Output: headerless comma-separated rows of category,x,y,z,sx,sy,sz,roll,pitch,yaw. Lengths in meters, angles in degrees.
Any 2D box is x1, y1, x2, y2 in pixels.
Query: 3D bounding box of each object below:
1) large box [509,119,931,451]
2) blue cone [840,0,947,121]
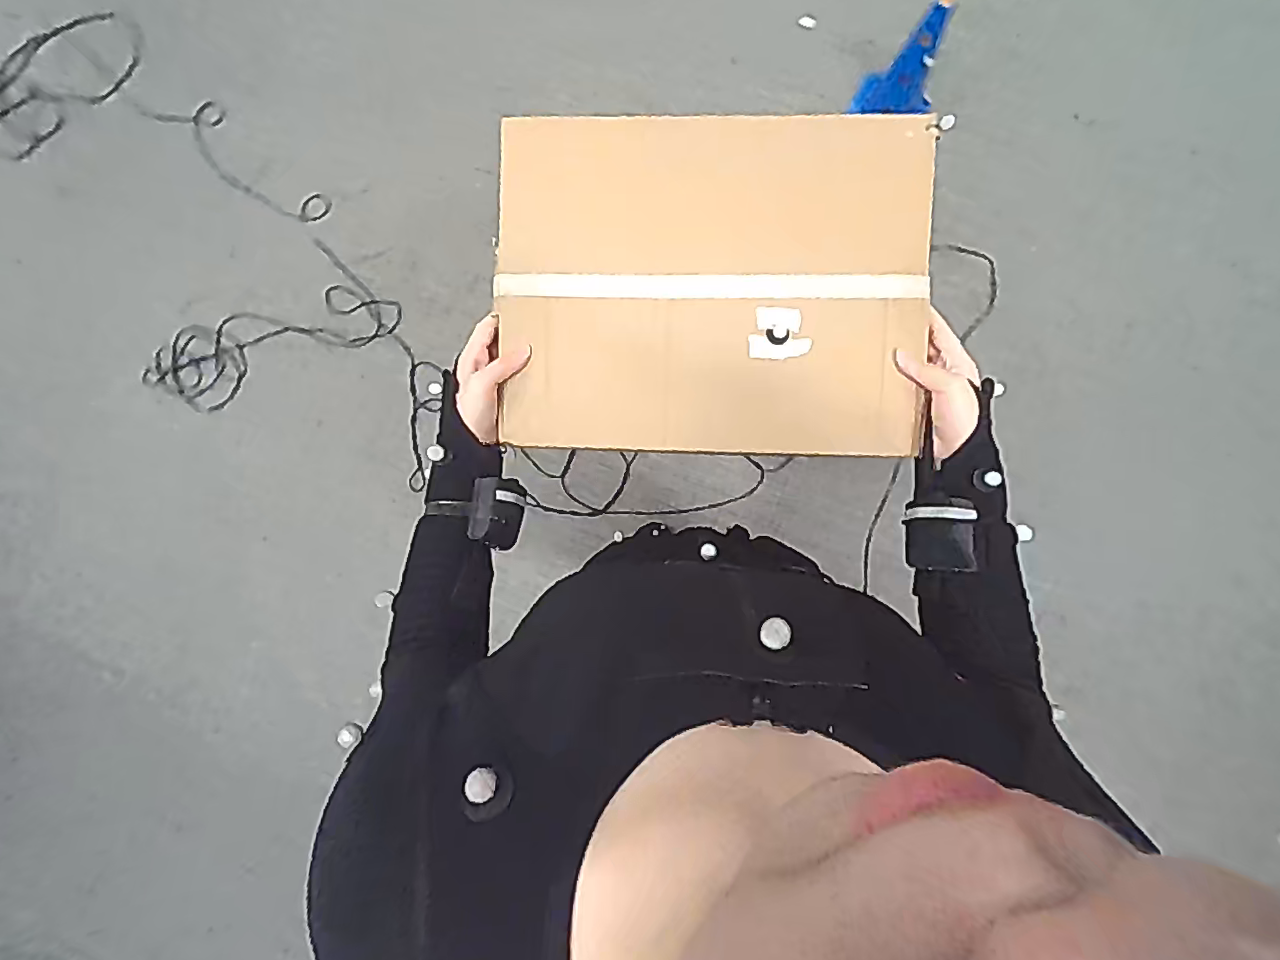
large box,0.076,-0.195,0.667,0.408,0.320,0.320,2,94,2
blue cone,0.668,-1.044,1.361,0.193,0.380,0.192,28,89,5
